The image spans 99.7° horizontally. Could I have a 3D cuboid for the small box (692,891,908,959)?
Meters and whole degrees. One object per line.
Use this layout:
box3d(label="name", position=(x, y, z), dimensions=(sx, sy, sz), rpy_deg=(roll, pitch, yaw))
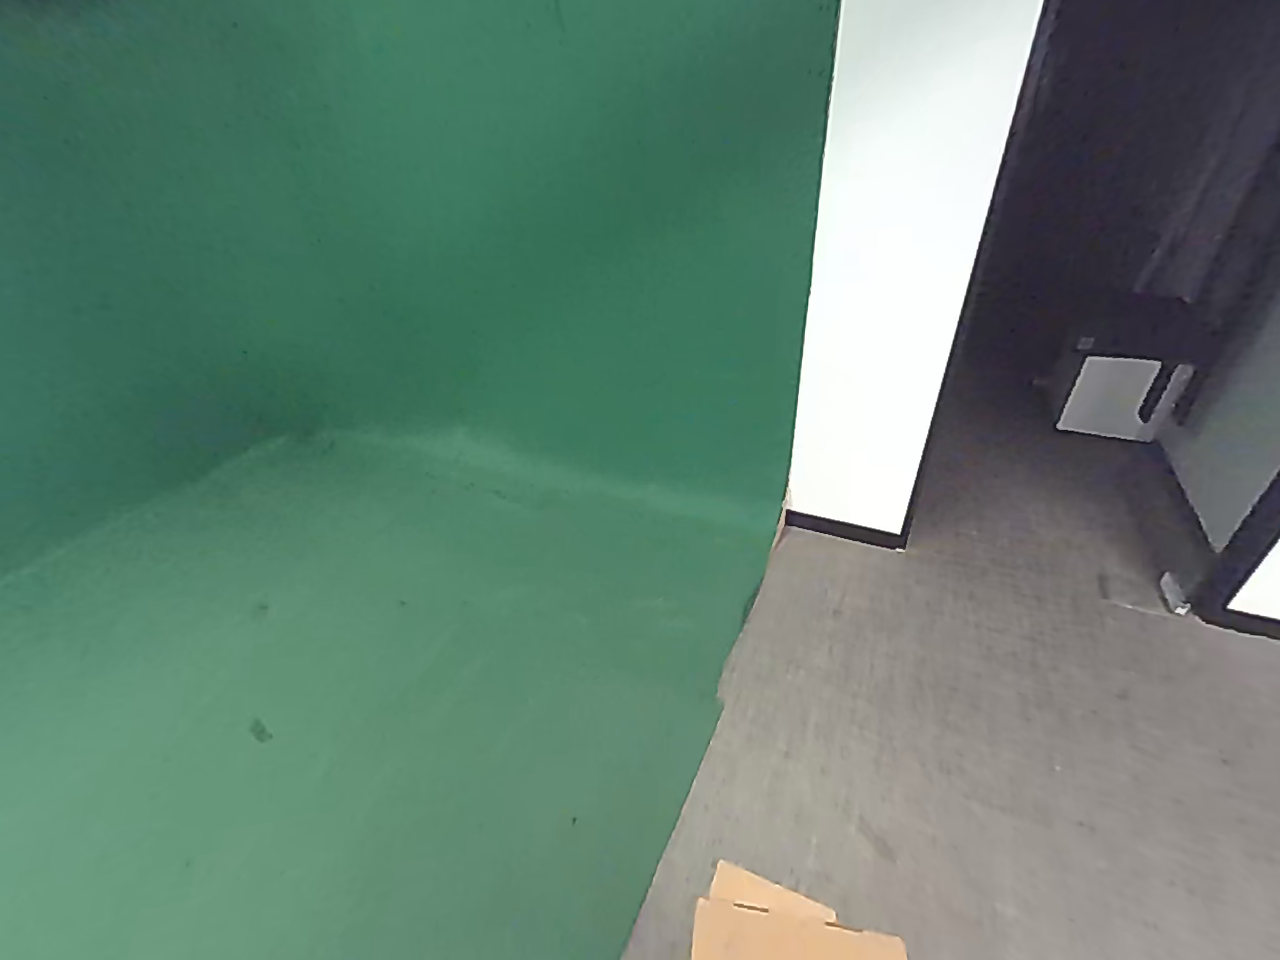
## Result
box3d(label="small box", position=(0.114, 0.470, 0.419), dimensions=(0.168, 0.176, 0.179), rpy_deg=(6, 35, 10))

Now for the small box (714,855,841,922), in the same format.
box3d(label="small box", position=(0.170, 0.673, 0.740), dimensions=(0.168, 0.176, 0.179), rpy_deg=(9, 38, 25))
